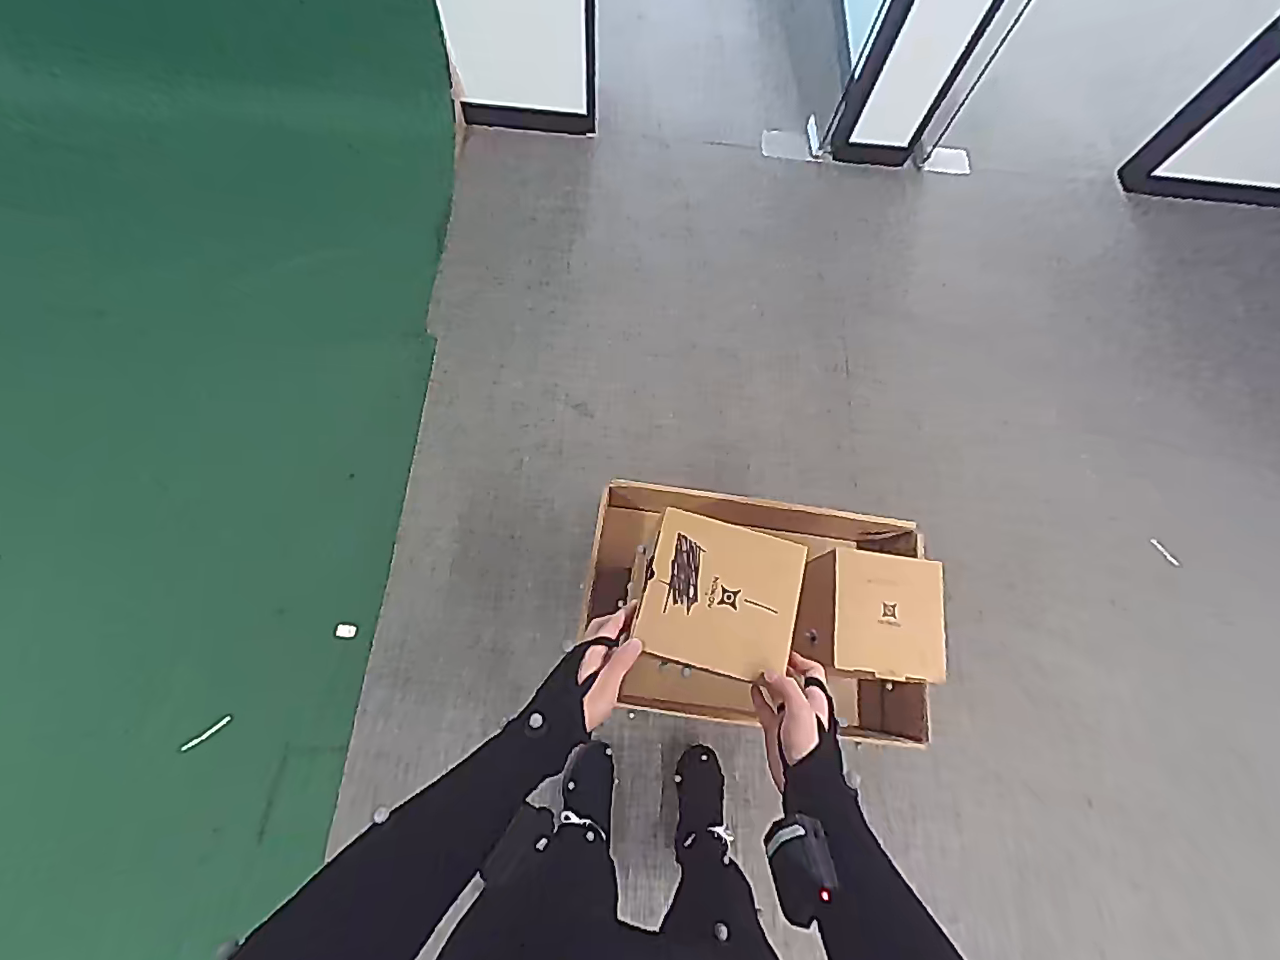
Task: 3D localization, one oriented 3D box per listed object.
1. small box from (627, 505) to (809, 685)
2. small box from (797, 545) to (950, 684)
[{"bbox_3d":[0.087,0.150,0.682,0.179,0.176,0.168,16,72,0],"label":"small box"},{"bbox_3d":[0.357,0.215,0.851,0.168,0.176,0.179,9,71,-2],"label":"small box"}]
